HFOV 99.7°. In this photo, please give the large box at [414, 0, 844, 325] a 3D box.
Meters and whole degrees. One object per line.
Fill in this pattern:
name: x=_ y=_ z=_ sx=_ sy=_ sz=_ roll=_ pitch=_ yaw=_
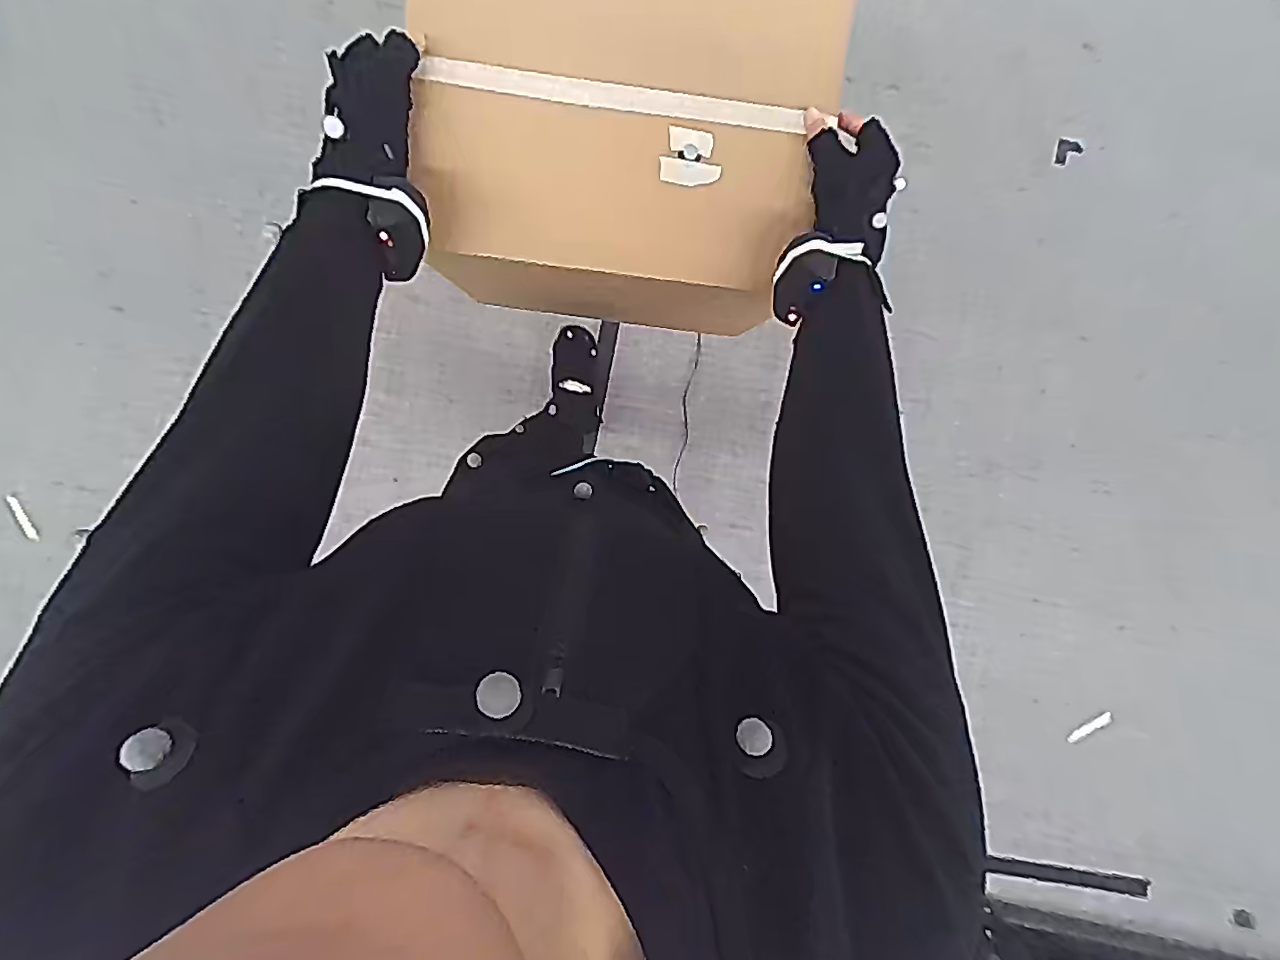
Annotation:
large box: x=-0.022 y=-0.387 z=0.667 sx=0.408 sy=0.320 sz=0.320 roll=5 pitch=98 yaw=-4
